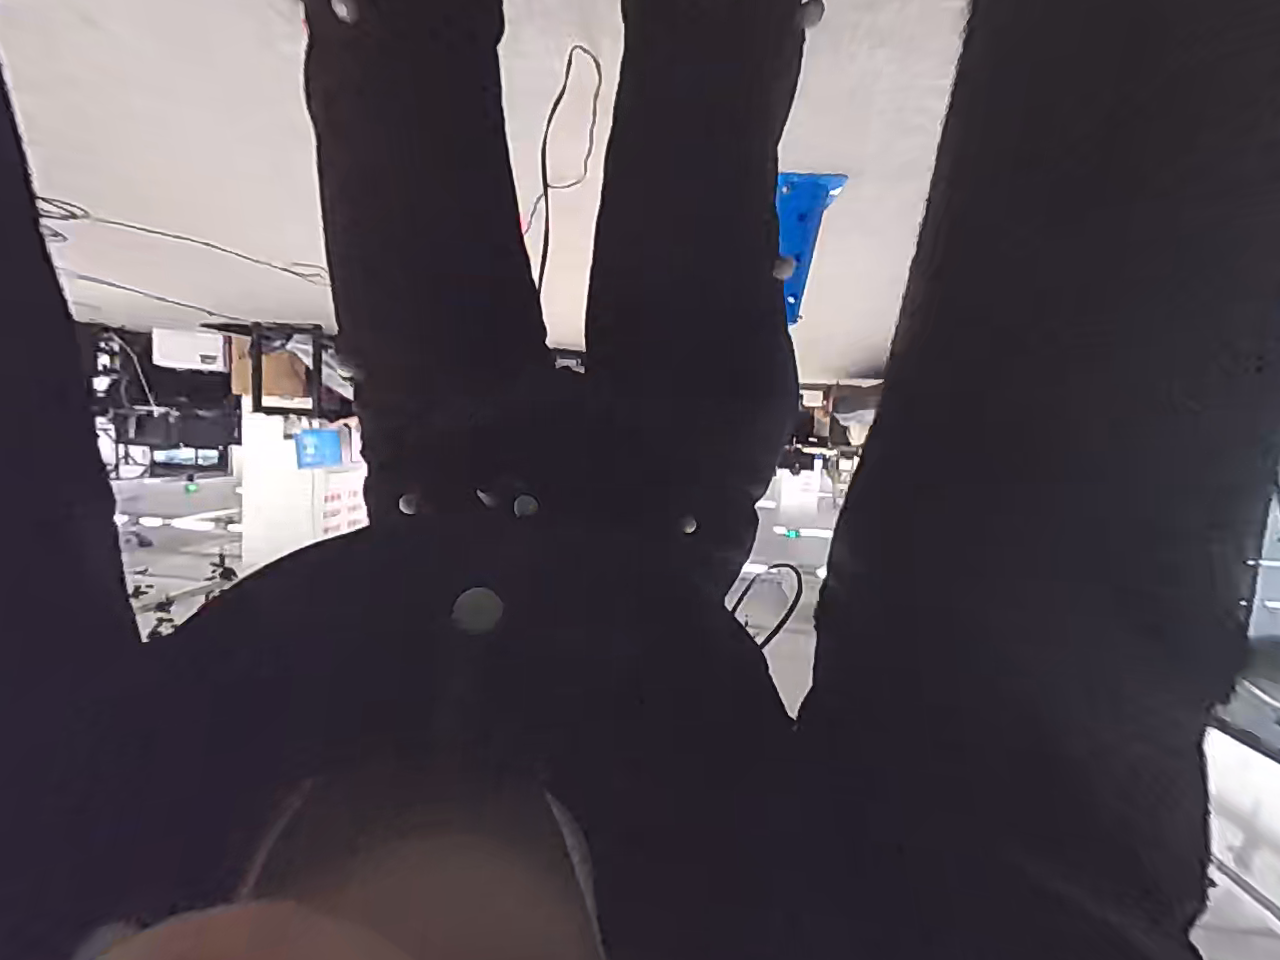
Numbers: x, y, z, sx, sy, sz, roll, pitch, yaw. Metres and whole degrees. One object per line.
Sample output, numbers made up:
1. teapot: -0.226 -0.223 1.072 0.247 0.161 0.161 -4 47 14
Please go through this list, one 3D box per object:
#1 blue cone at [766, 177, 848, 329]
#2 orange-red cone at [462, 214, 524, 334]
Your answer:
1. blue cone: 0.431 -0.603 1.464 0.192 0.380 0.193 4 -175 3
2. orange-red cone: -0.516 -0.685 1.856 0.199 0.360 0.198 4 -176 -17
